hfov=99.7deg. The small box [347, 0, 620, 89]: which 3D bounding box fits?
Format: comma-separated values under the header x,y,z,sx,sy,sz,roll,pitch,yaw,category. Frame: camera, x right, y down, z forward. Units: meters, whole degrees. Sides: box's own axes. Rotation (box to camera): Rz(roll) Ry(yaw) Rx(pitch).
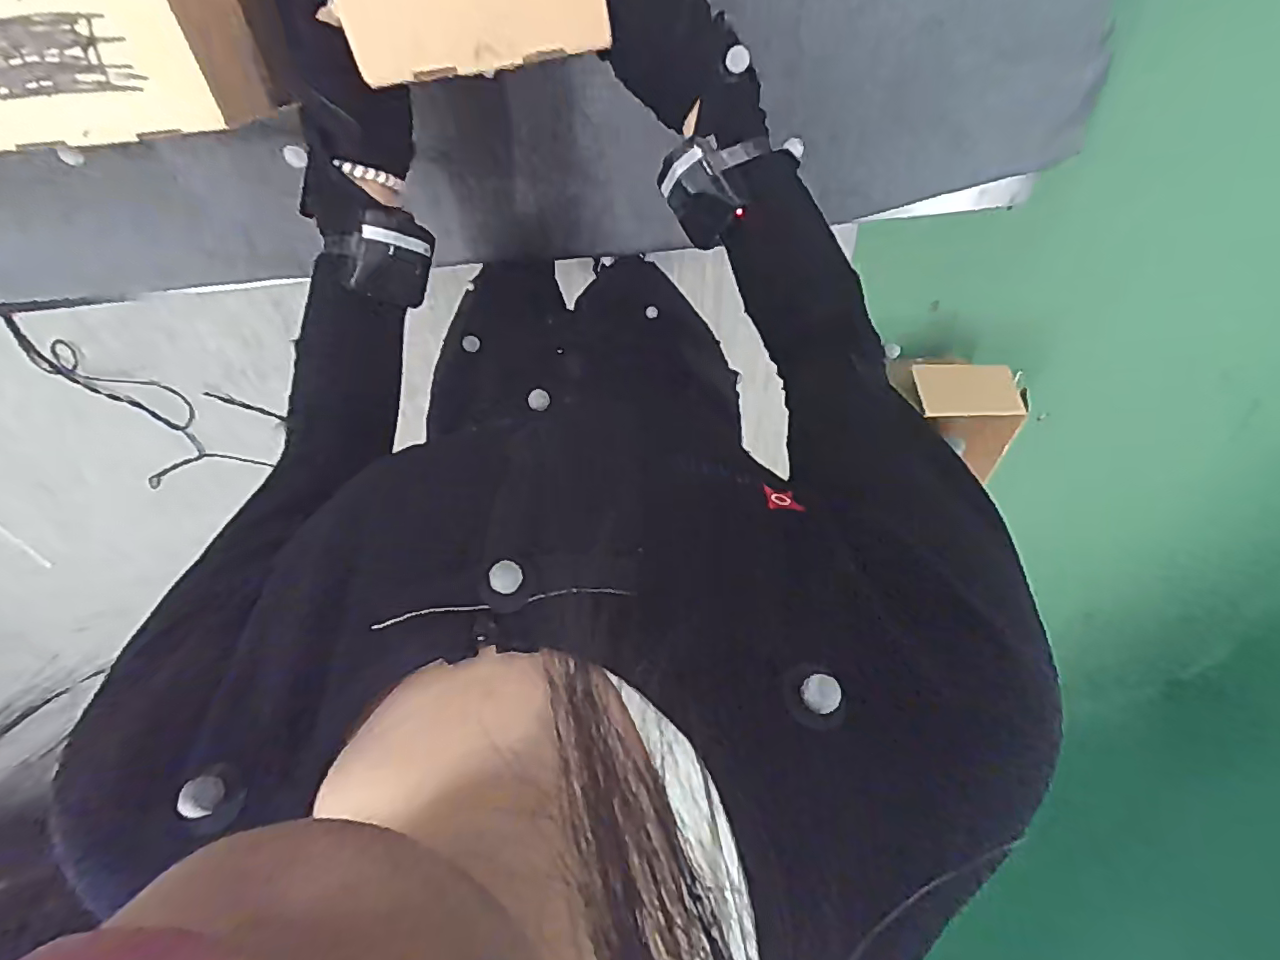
x,y,z,sx,sy,sz,roll,pitch,yaw,category
-0.116,-0.388,0.359,0.168,0.176,0.179,-12,134,-2,small box
